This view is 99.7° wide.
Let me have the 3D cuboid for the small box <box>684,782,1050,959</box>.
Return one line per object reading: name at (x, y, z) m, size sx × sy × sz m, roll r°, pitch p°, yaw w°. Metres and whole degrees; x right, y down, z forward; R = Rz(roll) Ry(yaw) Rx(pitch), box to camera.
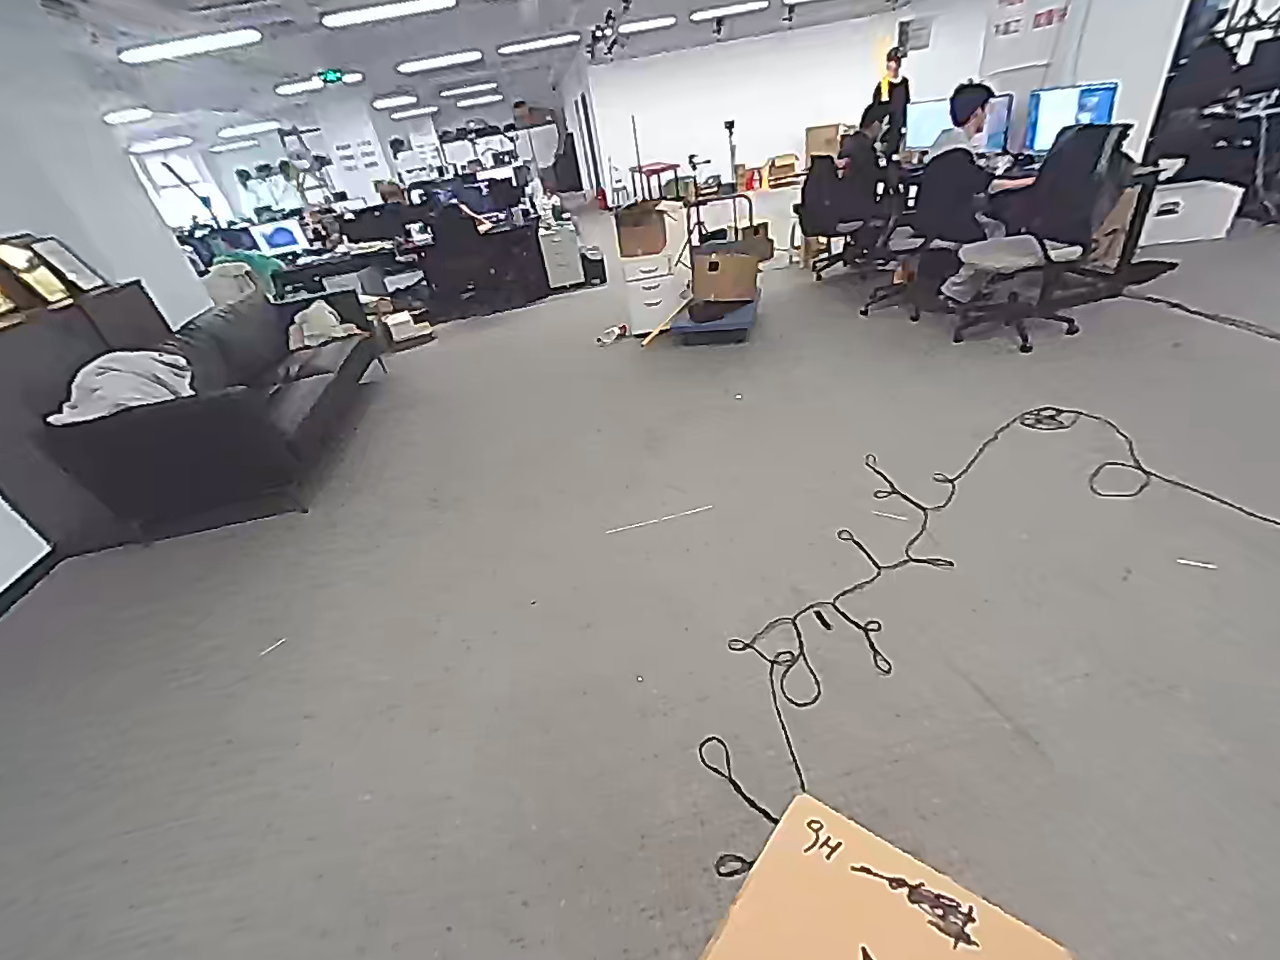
small box at (0.131, 0.351, 0.341) m, size 0.168 × 0.176 × 0.179 m, roll 15°, pitch 36°, yaw 37°
